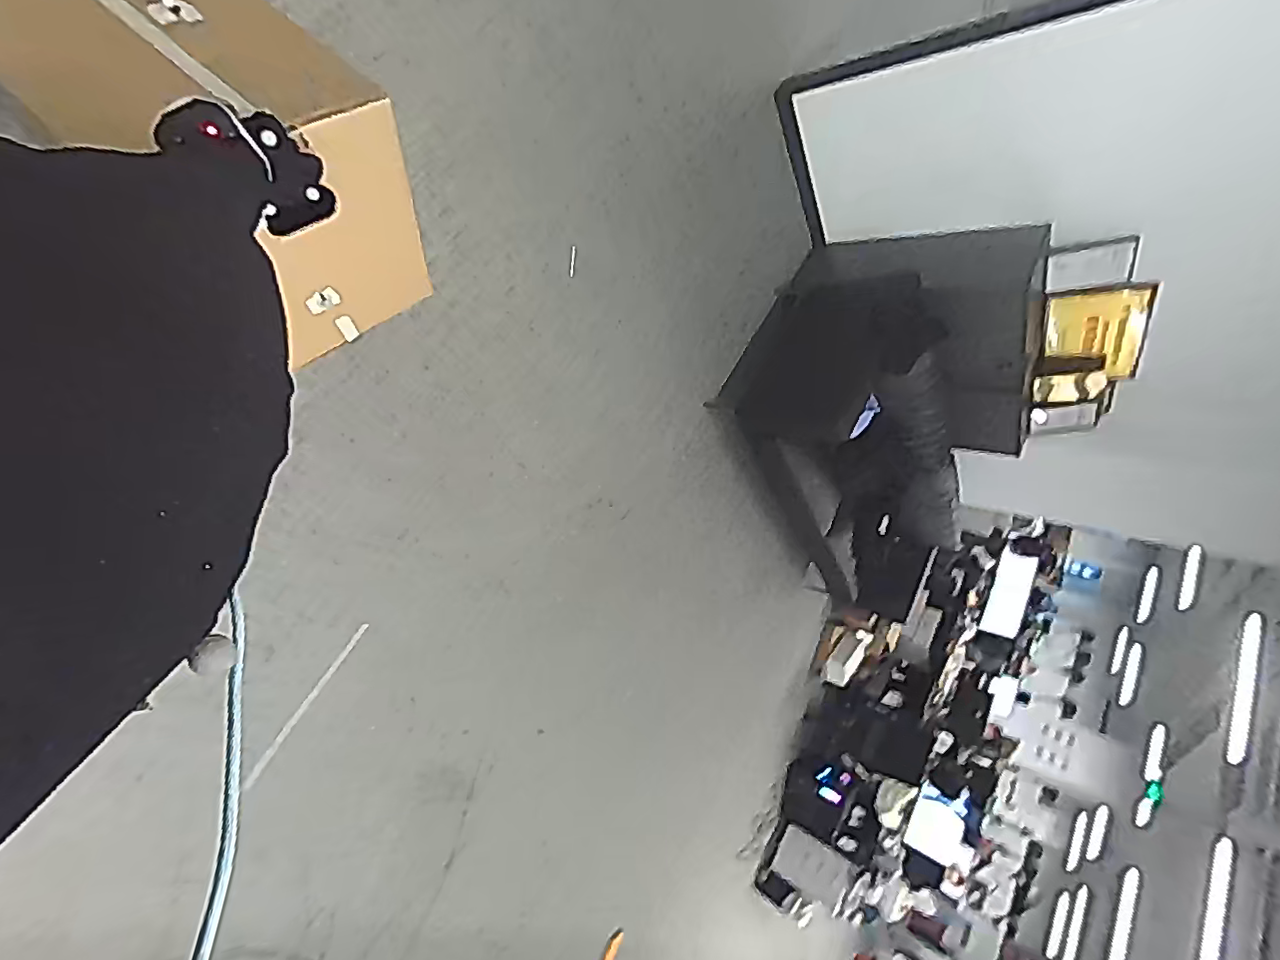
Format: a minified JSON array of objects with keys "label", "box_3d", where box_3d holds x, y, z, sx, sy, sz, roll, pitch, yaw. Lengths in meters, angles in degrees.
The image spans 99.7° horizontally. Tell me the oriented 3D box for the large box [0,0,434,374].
[{"label":"large box","box_3d":[-0.575,-0.433,0.781,0.320,0.408,0.320,-44,165,-28]}]
